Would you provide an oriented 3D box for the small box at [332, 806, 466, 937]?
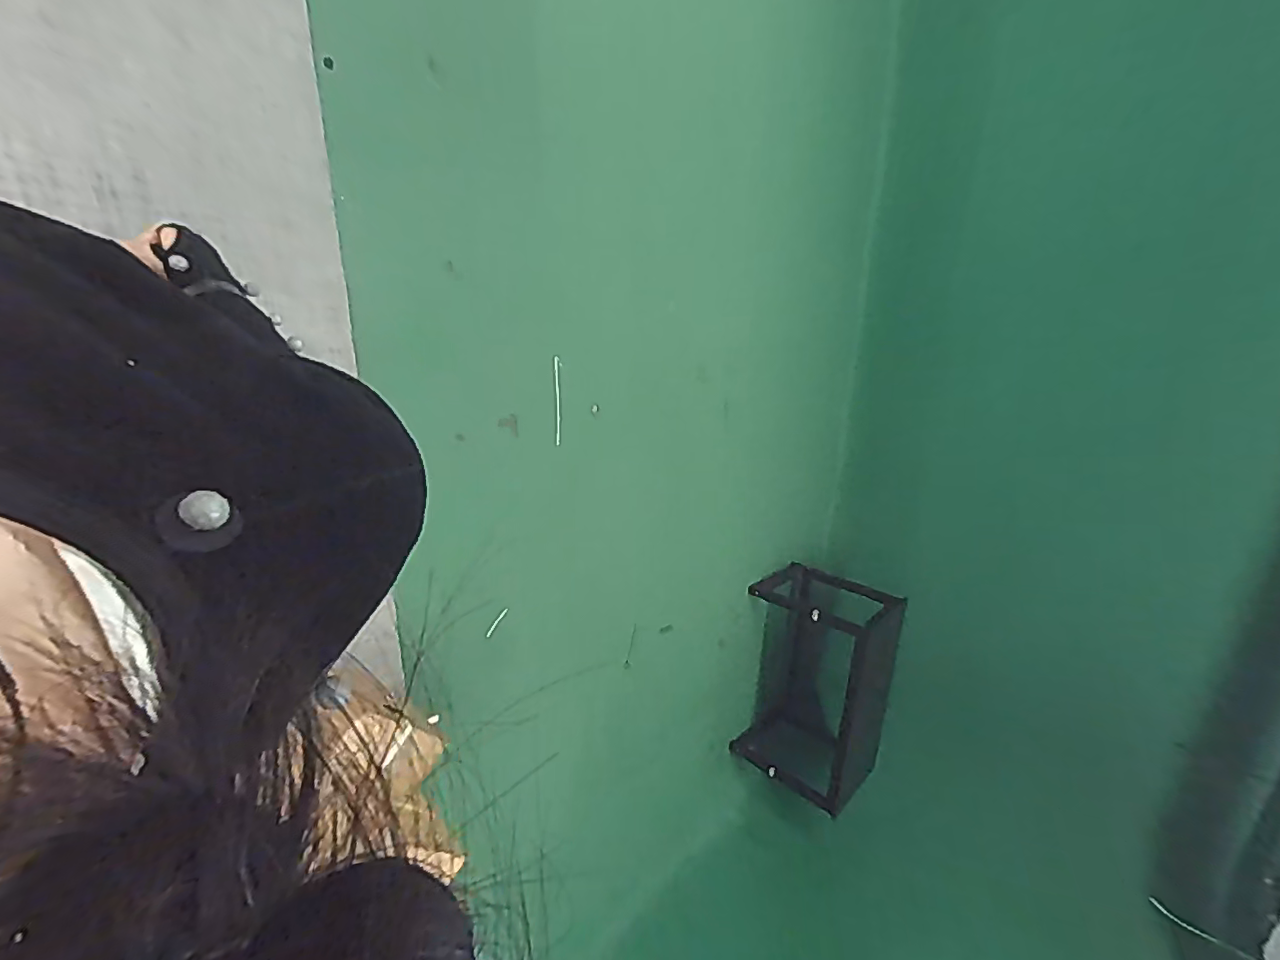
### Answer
[{"bbox_3d":[-0.529,0.854,1.188,0.168,0.176,0.179,-56,136,-20],"label":"small box"}]

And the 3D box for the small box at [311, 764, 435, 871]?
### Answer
[{"bbox_3d":[-0.641,0.820,1.301,0.168,0.176,0.179,-54,135,-22],"label":"small box"}]
